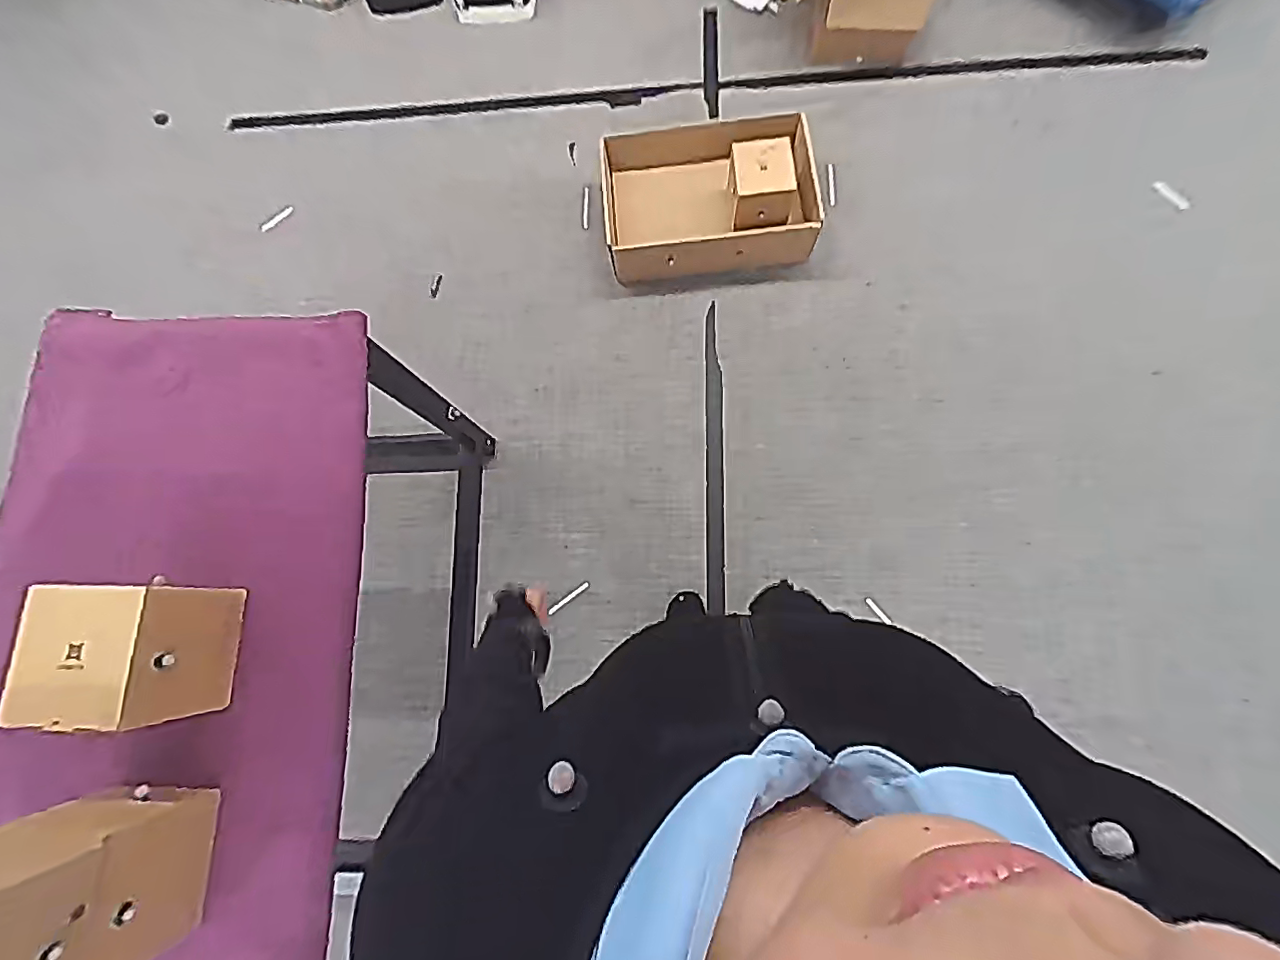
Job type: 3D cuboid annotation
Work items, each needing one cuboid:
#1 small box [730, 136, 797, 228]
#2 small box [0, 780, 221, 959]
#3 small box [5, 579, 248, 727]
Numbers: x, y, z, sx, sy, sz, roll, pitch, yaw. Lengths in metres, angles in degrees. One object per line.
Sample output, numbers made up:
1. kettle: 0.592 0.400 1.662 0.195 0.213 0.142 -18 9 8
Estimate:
1. small box: 0.361 -0.875 1.608 0.168 0.176 0.179 -4 77 3
2. small box: -0.689 0.511 0.696 0.168 0.176 0.179 -1 77 4
3. small box: -0.697 0.232 0.759 0.168 0.176 0.179 0 79 4
